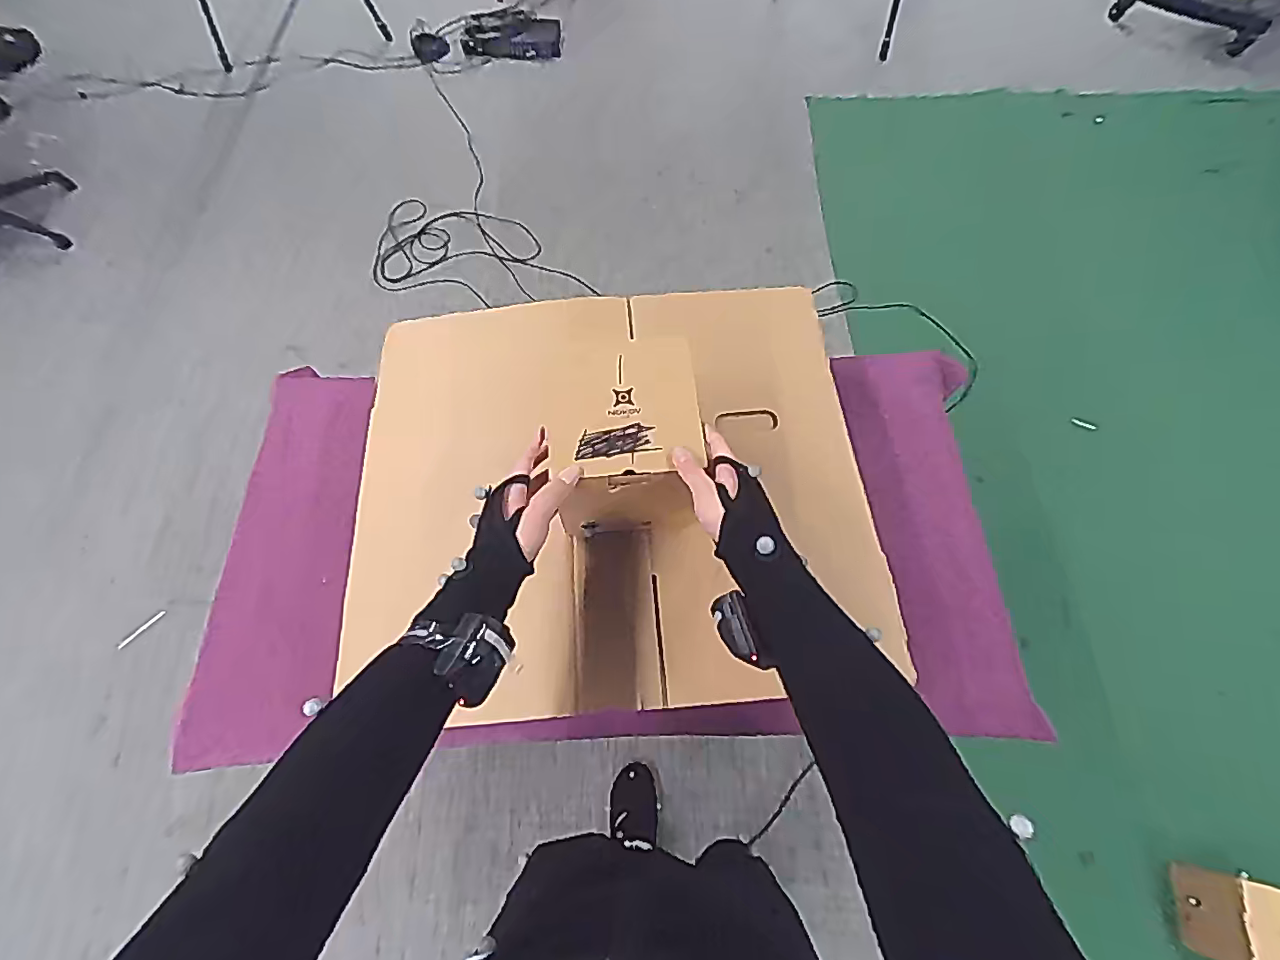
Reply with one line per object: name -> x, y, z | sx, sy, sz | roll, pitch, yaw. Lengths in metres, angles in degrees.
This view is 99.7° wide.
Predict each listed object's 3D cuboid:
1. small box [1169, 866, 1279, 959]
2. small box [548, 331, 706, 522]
small box -> 1.311, 0.963, 1.164 | 0.179, 0.176, 0.168 | 12, 67, 8
small box -> -0.018, -0.055, 0.654 | 0.168, 0.176, 0.179 | -4, 65, -3
